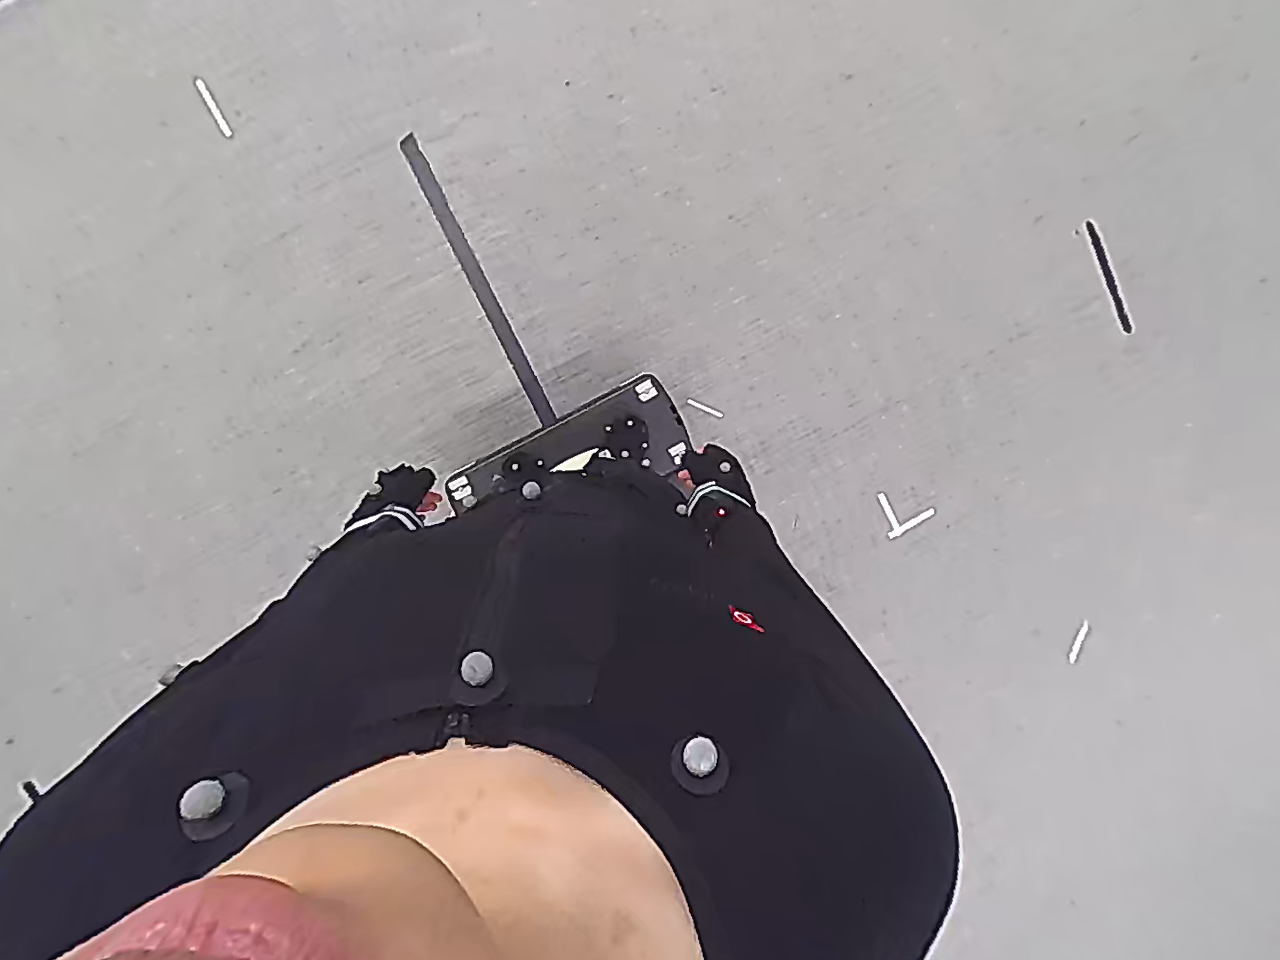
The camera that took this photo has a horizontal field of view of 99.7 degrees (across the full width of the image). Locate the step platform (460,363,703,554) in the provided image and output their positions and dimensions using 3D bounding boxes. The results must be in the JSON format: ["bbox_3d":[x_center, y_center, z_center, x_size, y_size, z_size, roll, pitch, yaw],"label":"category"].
[{"bbox_3d":[-0.163,-0.065,1.559,0.684,0.204,0.286,-29,99,-3],"label":"step platform"}]
